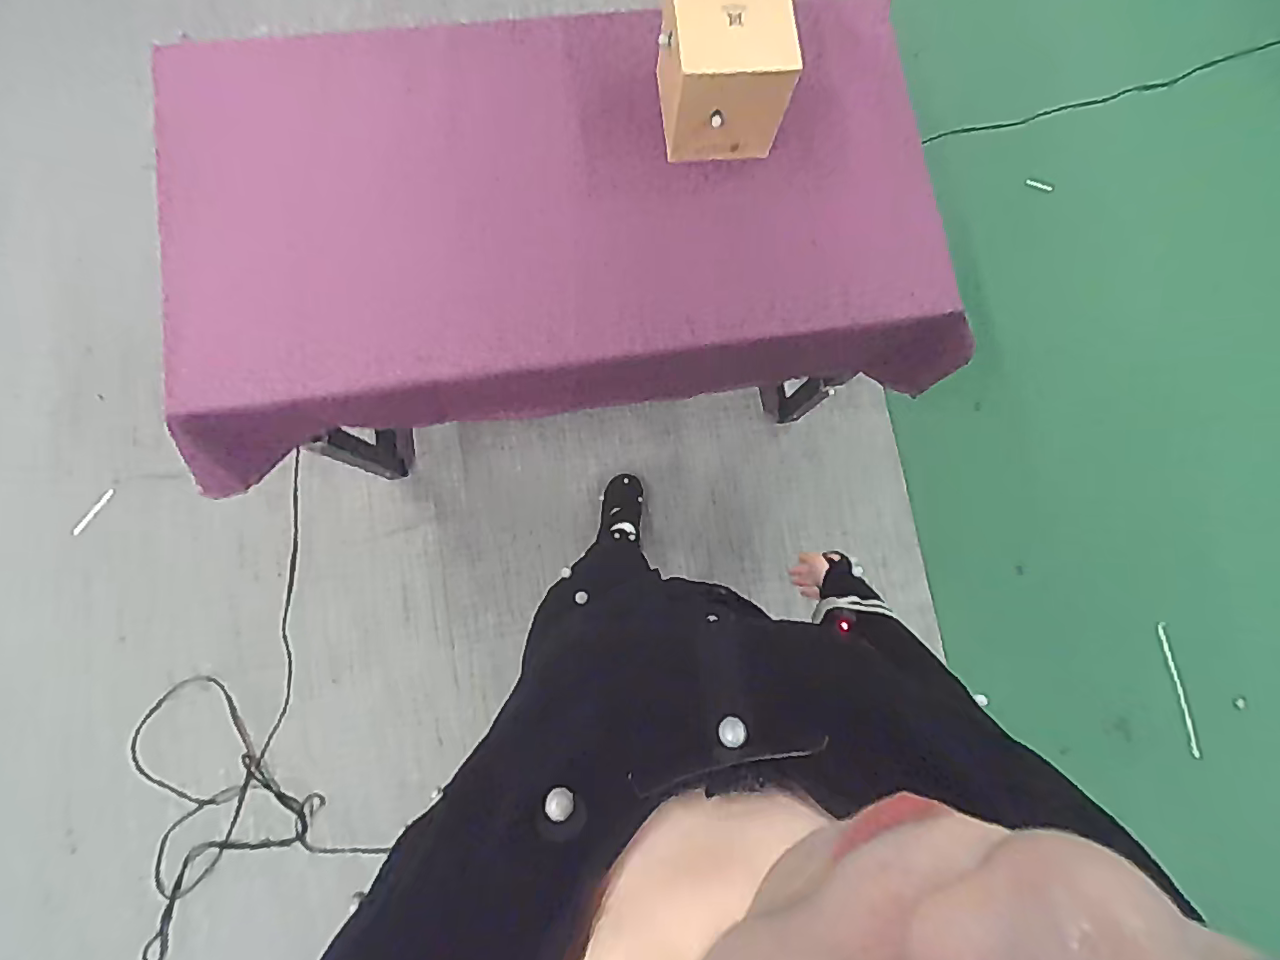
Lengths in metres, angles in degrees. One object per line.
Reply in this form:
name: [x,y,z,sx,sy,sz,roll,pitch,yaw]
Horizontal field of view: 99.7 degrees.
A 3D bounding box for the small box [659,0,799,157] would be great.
small box: [0.122,-0.613,0.810,0.168,0.176,0.179,-6,81,-4]
